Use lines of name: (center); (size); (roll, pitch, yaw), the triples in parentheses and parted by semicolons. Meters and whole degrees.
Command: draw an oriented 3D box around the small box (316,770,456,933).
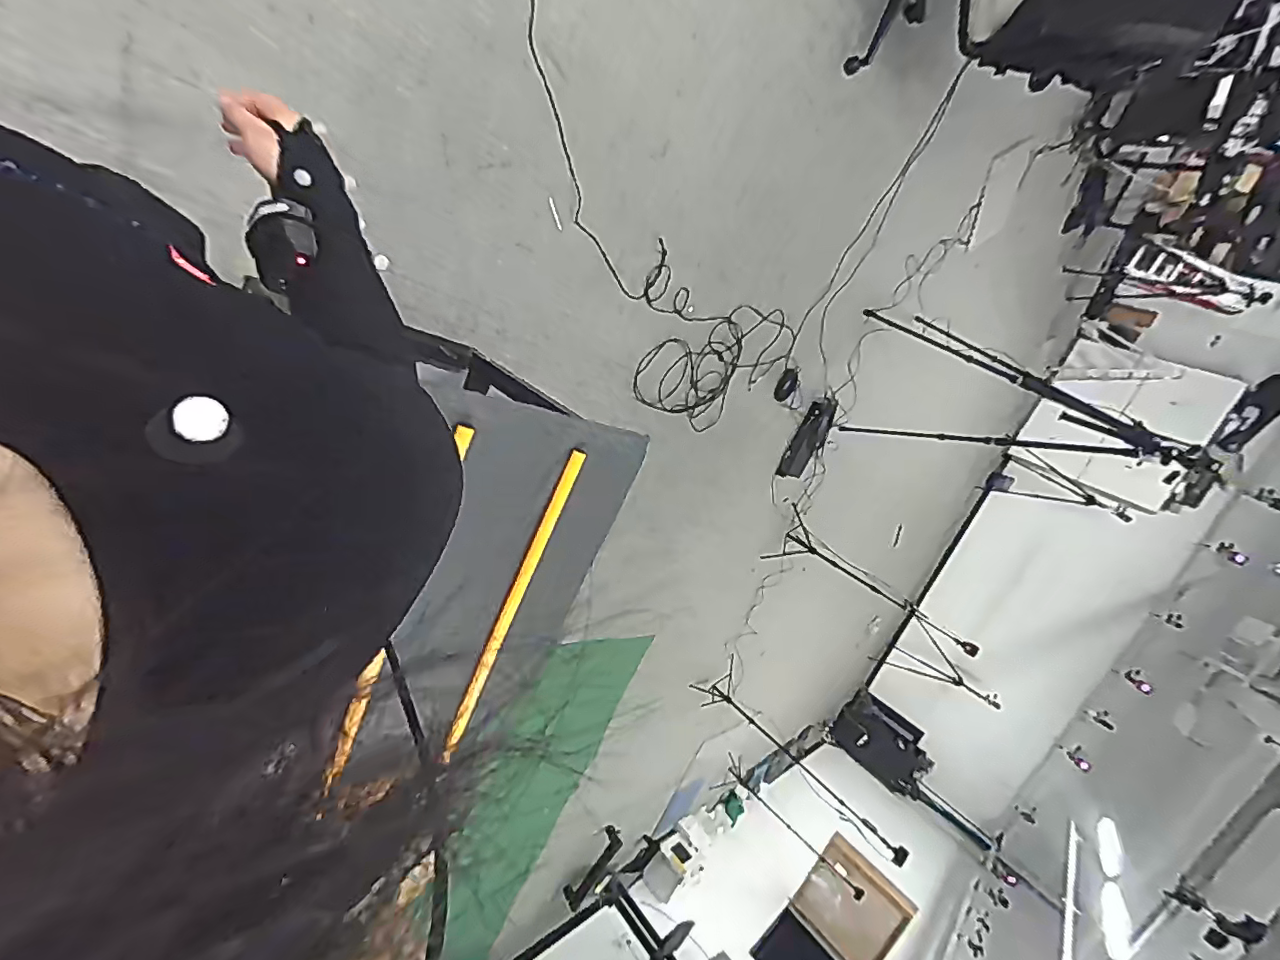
small box: (-0.503, 0.711, 1.060); (0.179, 0.176, 0.168); (13, 107, -51)

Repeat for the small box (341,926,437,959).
small box: (-0.485, 0.988, 1.008); (0.168, 0.176, 0.179); (17, 104, -51)
